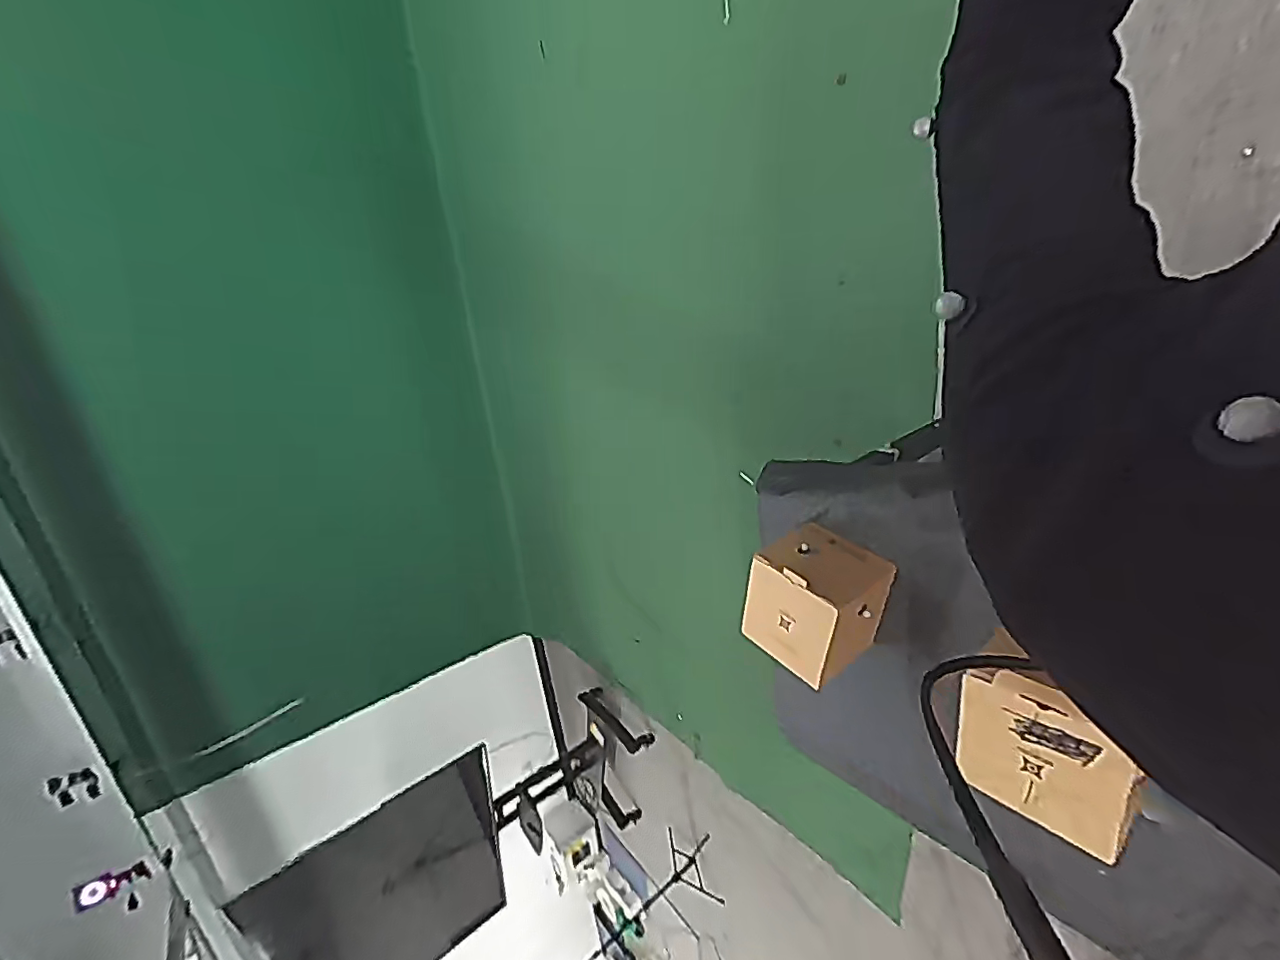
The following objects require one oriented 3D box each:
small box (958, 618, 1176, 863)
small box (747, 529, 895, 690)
[{"bbox_3d":[0.521,0.300,0.666,0.168,0.176,0.179,17,122,51],"label":"small box"},{"bbox_3d":[0.308,0.209,0.925,0.168,0.176,0.179,32,132,44],"label":"small box"}]
